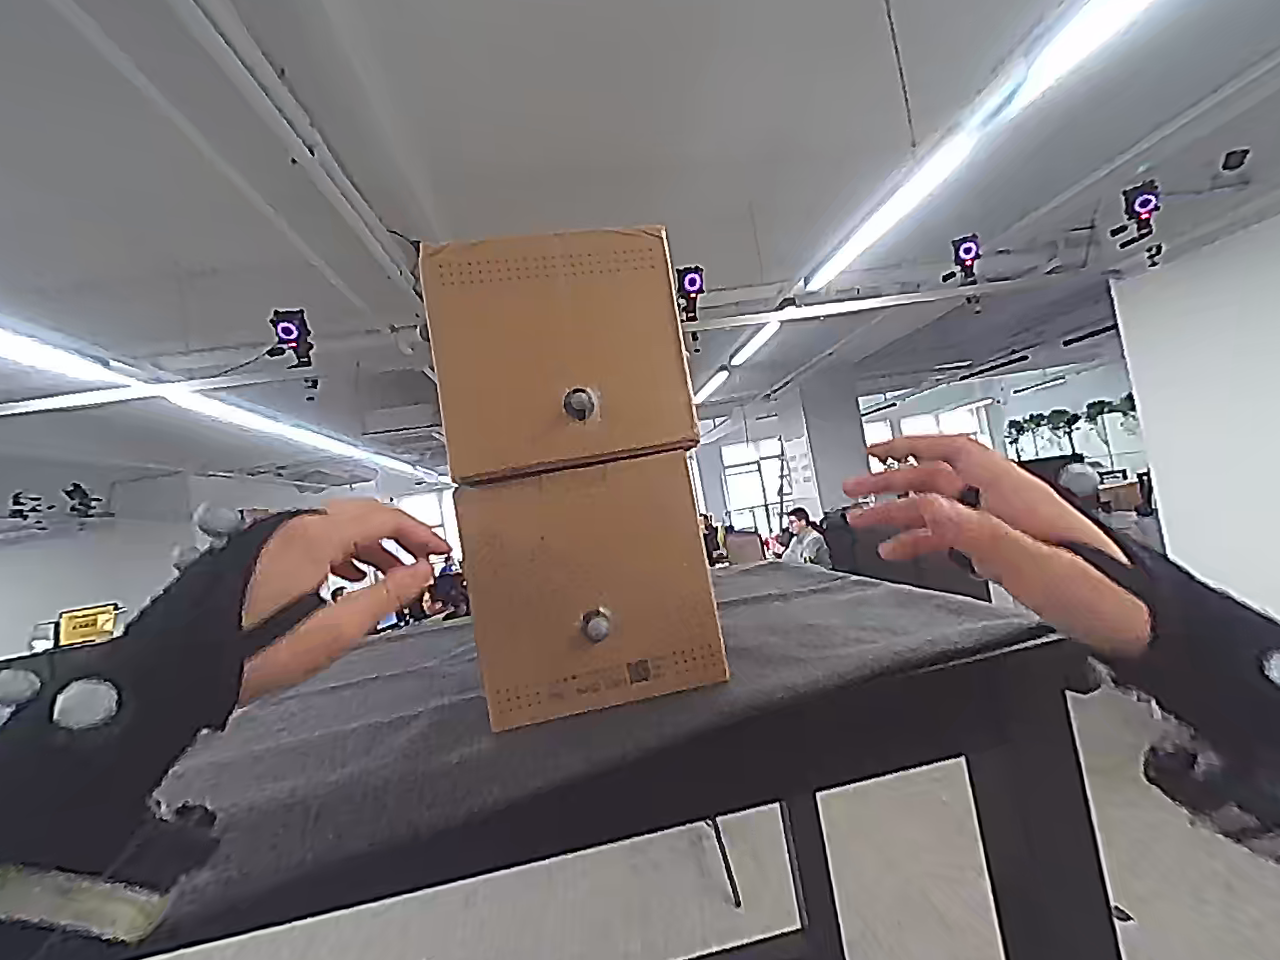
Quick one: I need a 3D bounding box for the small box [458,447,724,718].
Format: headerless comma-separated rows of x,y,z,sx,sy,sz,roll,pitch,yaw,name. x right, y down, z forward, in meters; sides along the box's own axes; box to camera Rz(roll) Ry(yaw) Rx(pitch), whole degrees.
-0.039,0.077,0.455,0.168,0.176,0.179,-11,-3,-6,small box

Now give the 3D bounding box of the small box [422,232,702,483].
-0.066,-0.088,0.453,0.179,0.176,0.168,-9,-4,-10,small box
